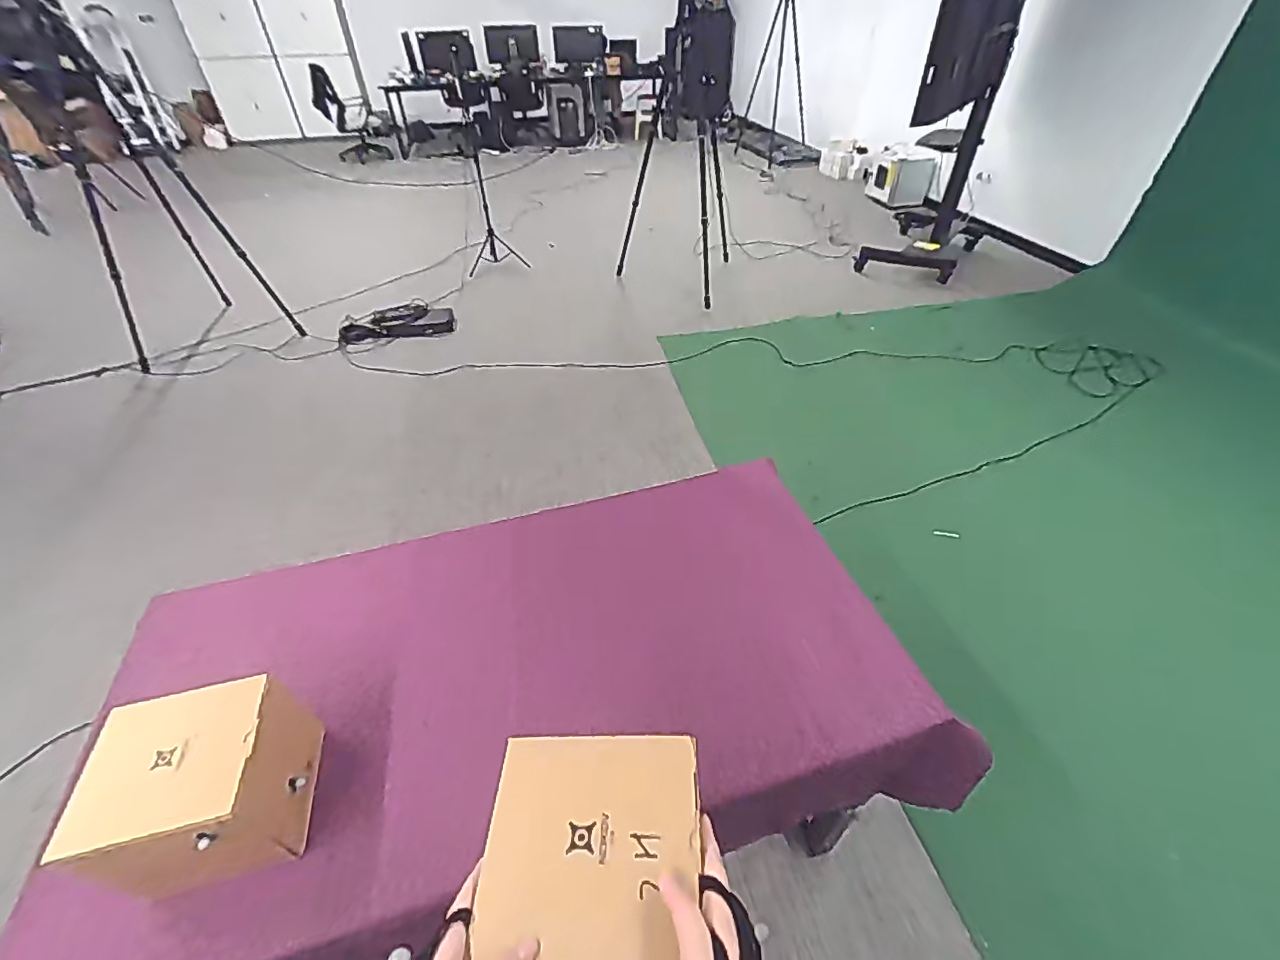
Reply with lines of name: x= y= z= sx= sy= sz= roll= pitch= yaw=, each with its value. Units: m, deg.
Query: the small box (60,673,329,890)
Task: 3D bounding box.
small box: x=-0.523 y=0.375 z=0.671 sx=0.179 sy=0.176 sz=0.168 roll=-11 pitch=43 yaw=-10

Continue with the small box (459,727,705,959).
small box: x=-0.034 y=0.345 z=0.494 sx=0.179 sy=0.176 sz=0.168 roll=-3 pitch=41 yaw=6
